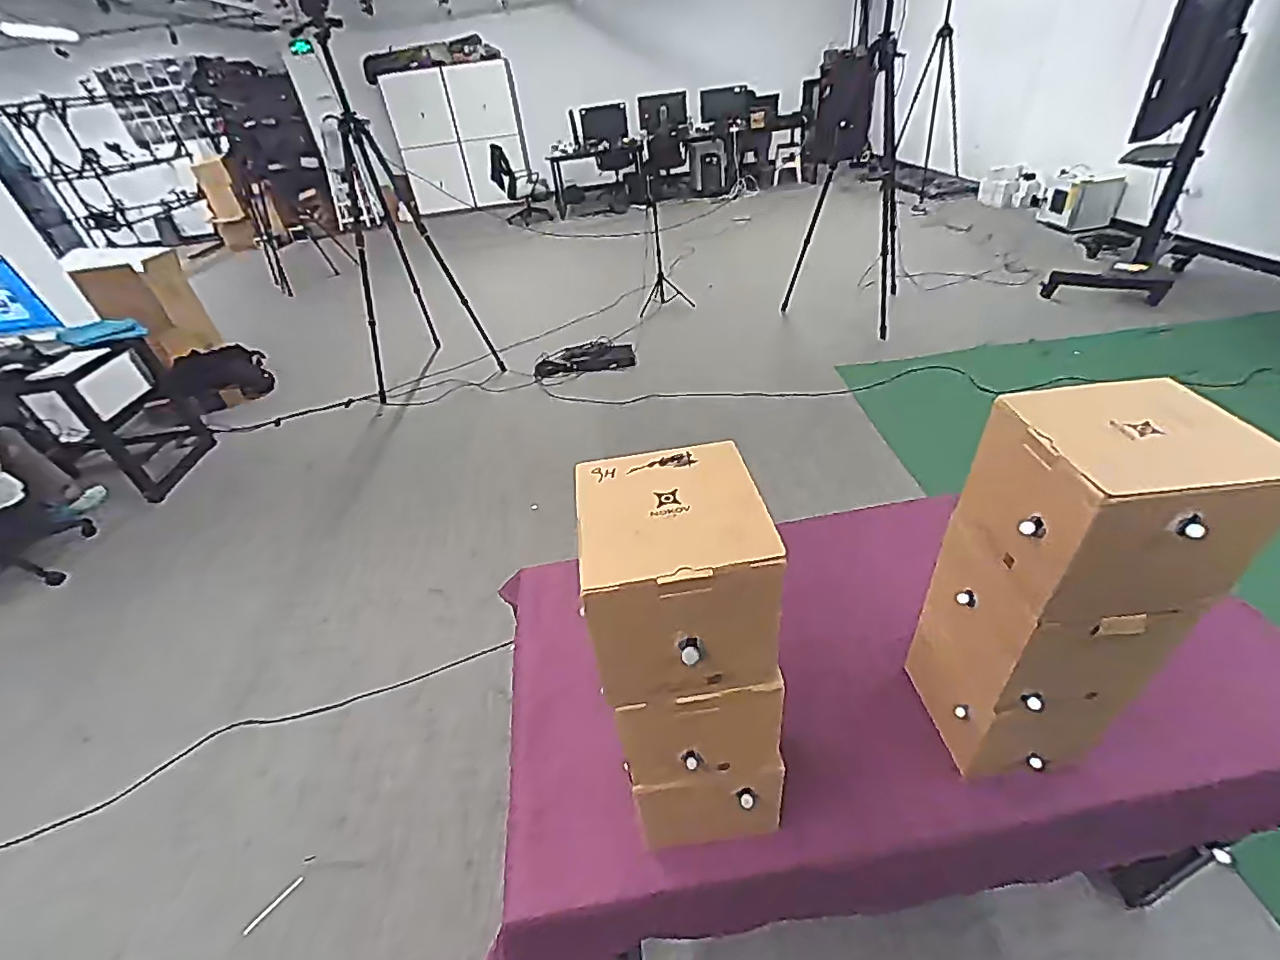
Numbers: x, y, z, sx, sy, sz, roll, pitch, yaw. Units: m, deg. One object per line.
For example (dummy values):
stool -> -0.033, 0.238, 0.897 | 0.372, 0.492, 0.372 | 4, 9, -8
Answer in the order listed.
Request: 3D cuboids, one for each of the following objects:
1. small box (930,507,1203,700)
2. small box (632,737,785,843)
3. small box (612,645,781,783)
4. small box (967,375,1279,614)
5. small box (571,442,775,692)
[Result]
small box -> 0.475, 0.142, 0.641 | 0.168, 0.176, 0.179 | -7, 36, 3
small box -> 0.081, 0.353, 0.720 | 0.179, 0.176, 0.168 | -9, 36, 1
small box -> 0.058, 0.219, 0.631 | 0.168, 0.176, 0.179 | -8, 37, 1
small box -> 0.457, 0.016, 0.538 | 0.179, 0.176, 0.168 | -6, 38, 4
small box -> 0.029, 0.089, 0.534 | 0.168, 0.176, 0.179 | -9, 38, -1
